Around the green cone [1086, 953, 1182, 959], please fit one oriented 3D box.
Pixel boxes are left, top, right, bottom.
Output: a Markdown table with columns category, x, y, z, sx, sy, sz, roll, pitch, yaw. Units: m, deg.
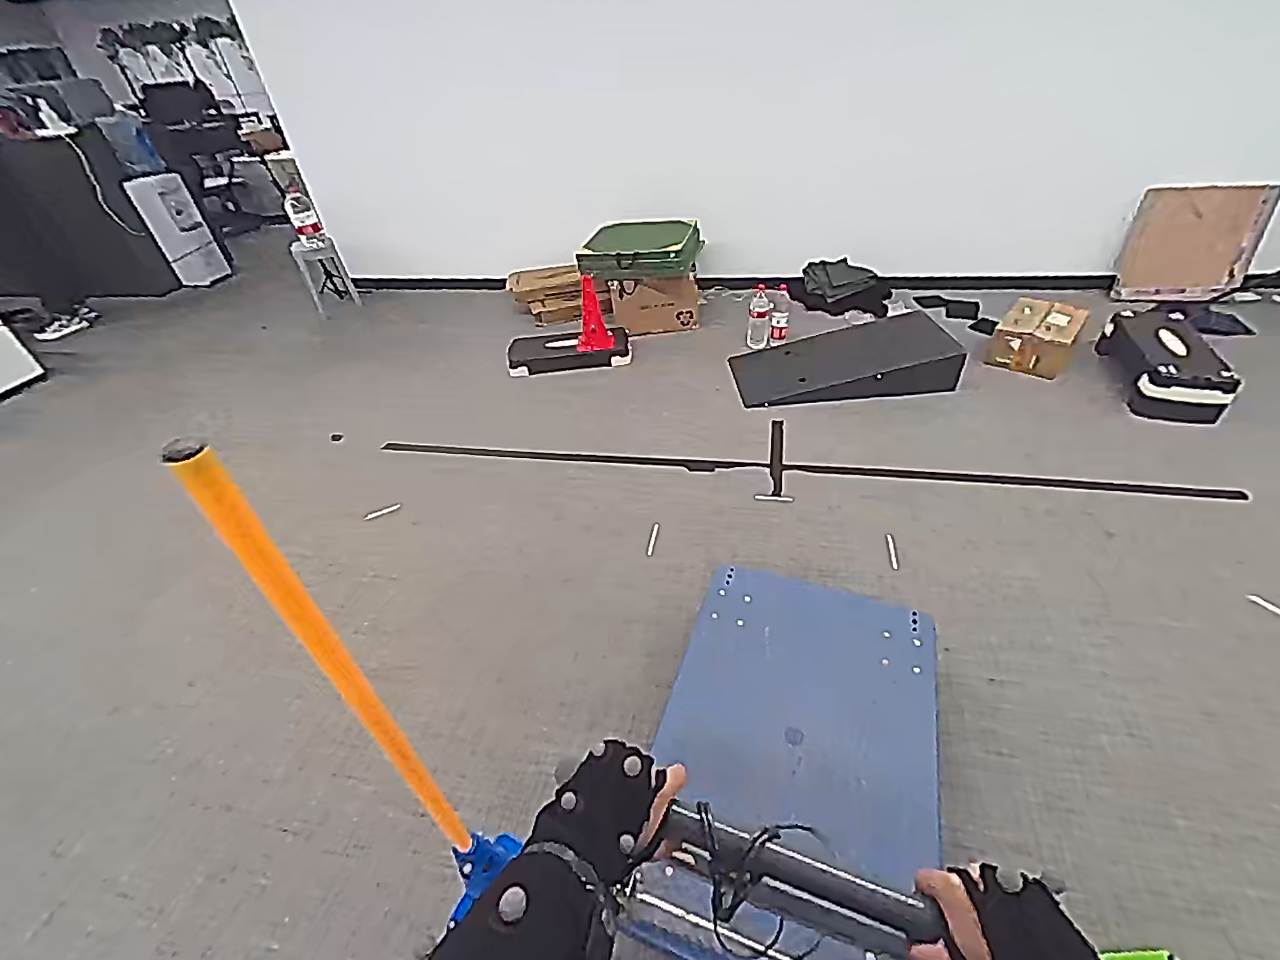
| category | x | y | z | sx | sy | sz | roll | pitch | yaw |
| --- | --- | --- | --- | --- | --- | --- | --- | --- | --- |
| green cone | 0.880 | 0.802 | 0.797 | 0.200 | 0.368 | 0.202 | -5 | 40 | 1 |

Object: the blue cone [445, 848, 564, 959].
| category | x | y | z | sx | sy | sz | roll | pitch | yaw |
| --- | --- | --- | --- | --- | --- | --- | --- | --- | --- |
| blue cone | -0.283 | 0.757 | 1.004 | 0.193 | 0.380 | 0.192 | 15 | 44 | 22 |
